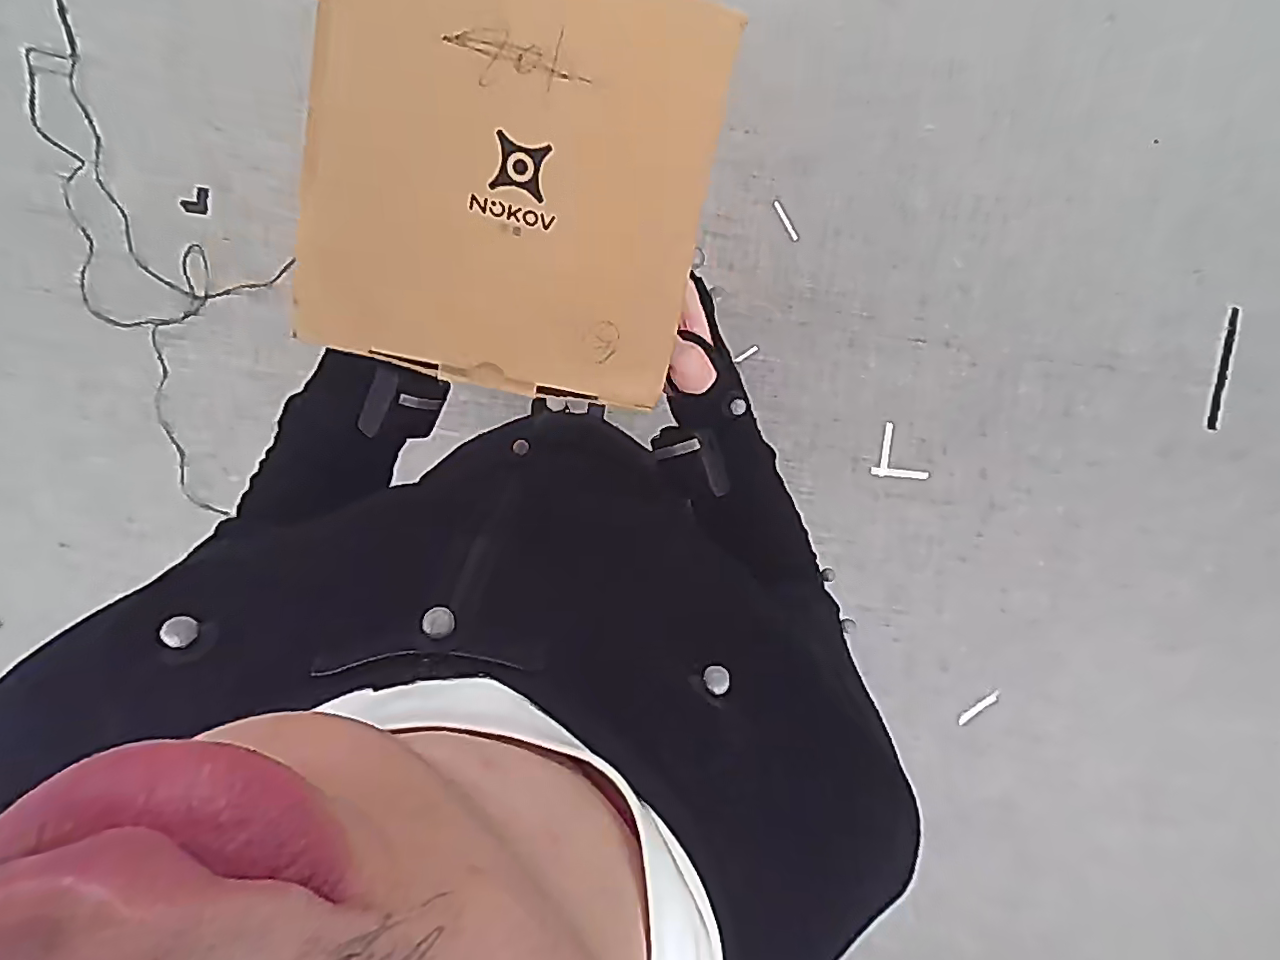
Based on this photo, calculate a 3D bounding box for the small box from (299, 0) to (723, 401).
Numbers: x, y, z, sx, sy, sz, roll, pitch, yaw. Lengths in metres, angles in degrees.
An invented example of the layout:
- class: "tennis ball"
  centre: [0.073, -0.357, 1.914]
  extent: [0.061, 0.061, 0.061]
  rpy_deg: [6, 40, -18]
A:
- class: "small box"
  centre: [-0.072, -0.154, 0.318]
  extent: [0.168, 0.176, 0.179]
  rpy_deg: [9, 101, -14]
